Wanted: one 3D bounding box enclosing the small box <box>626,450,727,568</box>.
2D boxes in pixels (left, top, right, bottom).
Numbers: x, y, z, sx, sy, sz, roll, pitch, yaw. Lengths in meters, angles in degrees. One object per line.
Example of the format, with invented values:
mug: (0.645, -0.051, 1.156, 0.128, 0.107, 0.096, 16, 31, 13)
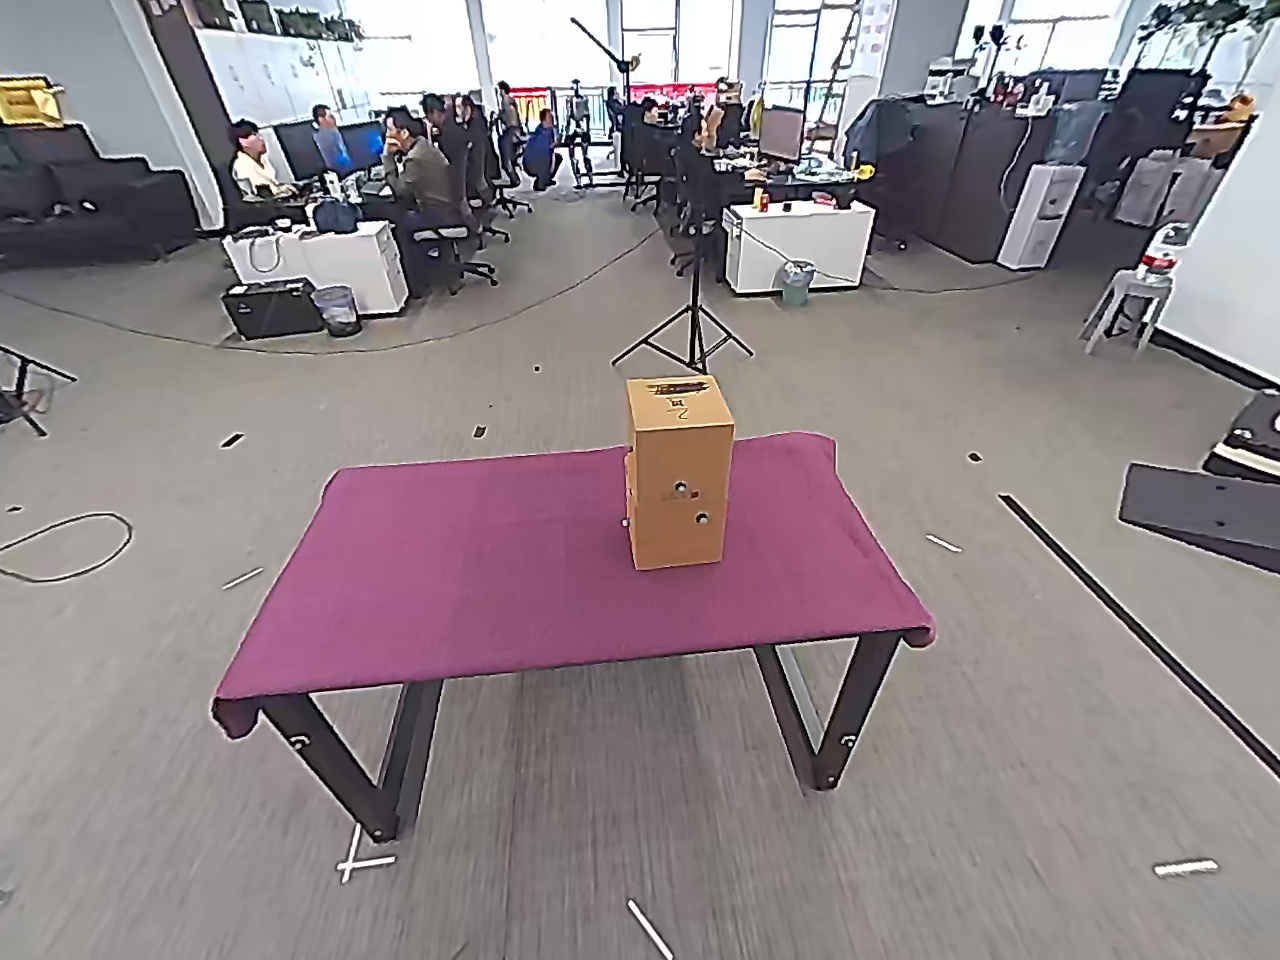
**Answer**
small box: (0.066, 0.059, 1.092, 0.179, 0.176, 0.168, -6, 37, -4)
